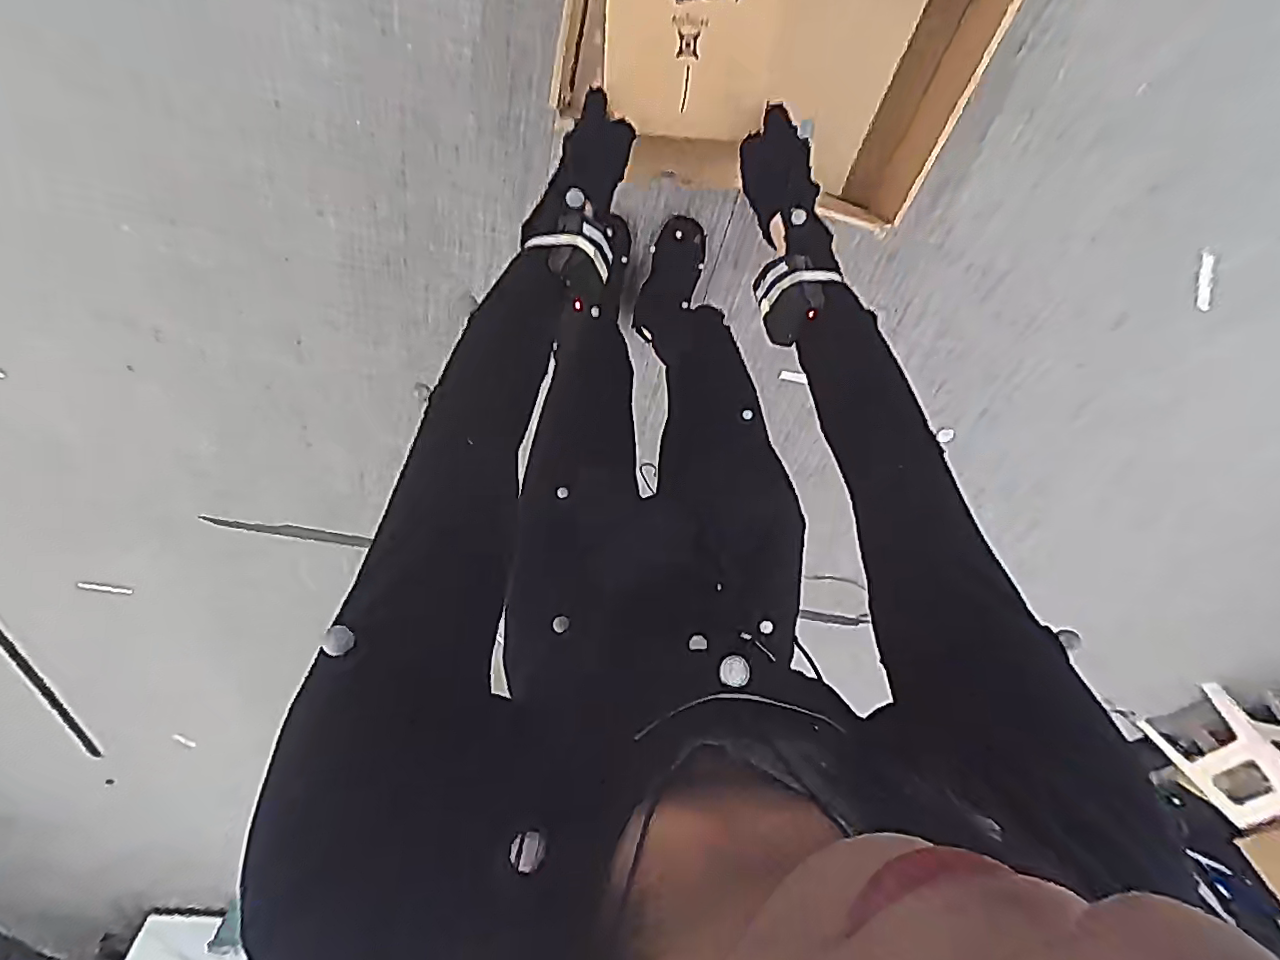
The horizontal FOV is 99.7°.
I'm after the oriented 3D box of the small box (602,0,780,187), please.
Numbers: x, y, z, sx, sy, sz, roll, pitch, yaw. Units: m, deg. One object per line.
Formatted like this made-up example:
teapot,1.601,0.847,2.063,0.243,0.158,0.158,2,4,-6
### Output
small box,0.046,-0.447,0.593,0.168,0.176,0.179,3,104,-3
